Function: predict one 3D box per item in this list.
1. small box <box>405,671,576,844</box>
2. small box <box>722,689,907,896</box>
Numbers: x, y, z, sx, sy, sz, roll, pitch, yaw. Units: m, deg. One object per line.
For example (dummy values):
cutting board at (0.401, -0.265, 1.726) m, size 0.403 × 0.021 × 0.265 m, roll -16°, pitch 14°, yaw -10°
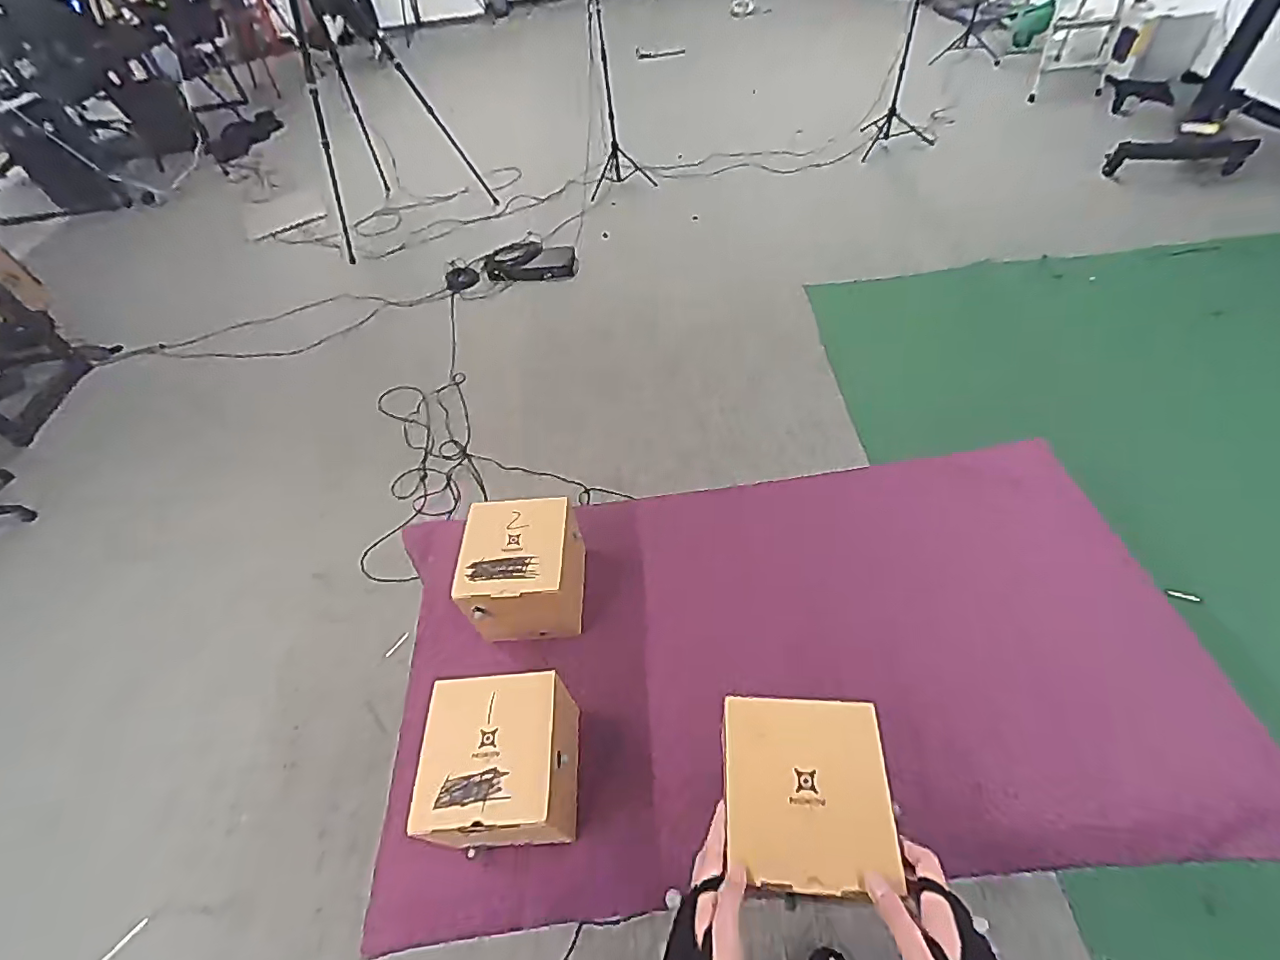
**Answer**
small box at (-0.181, 0.374, 0.719) m, size 0.168 × 0.176 × 0.179 m, roll -5°, pitch 50°, yaw 2°
small box at (0.180, 0.359, 0.621) m, size 0.168 × 0.176 × 0.179 m, roll 0°, pitch 52°, yaw 7°
